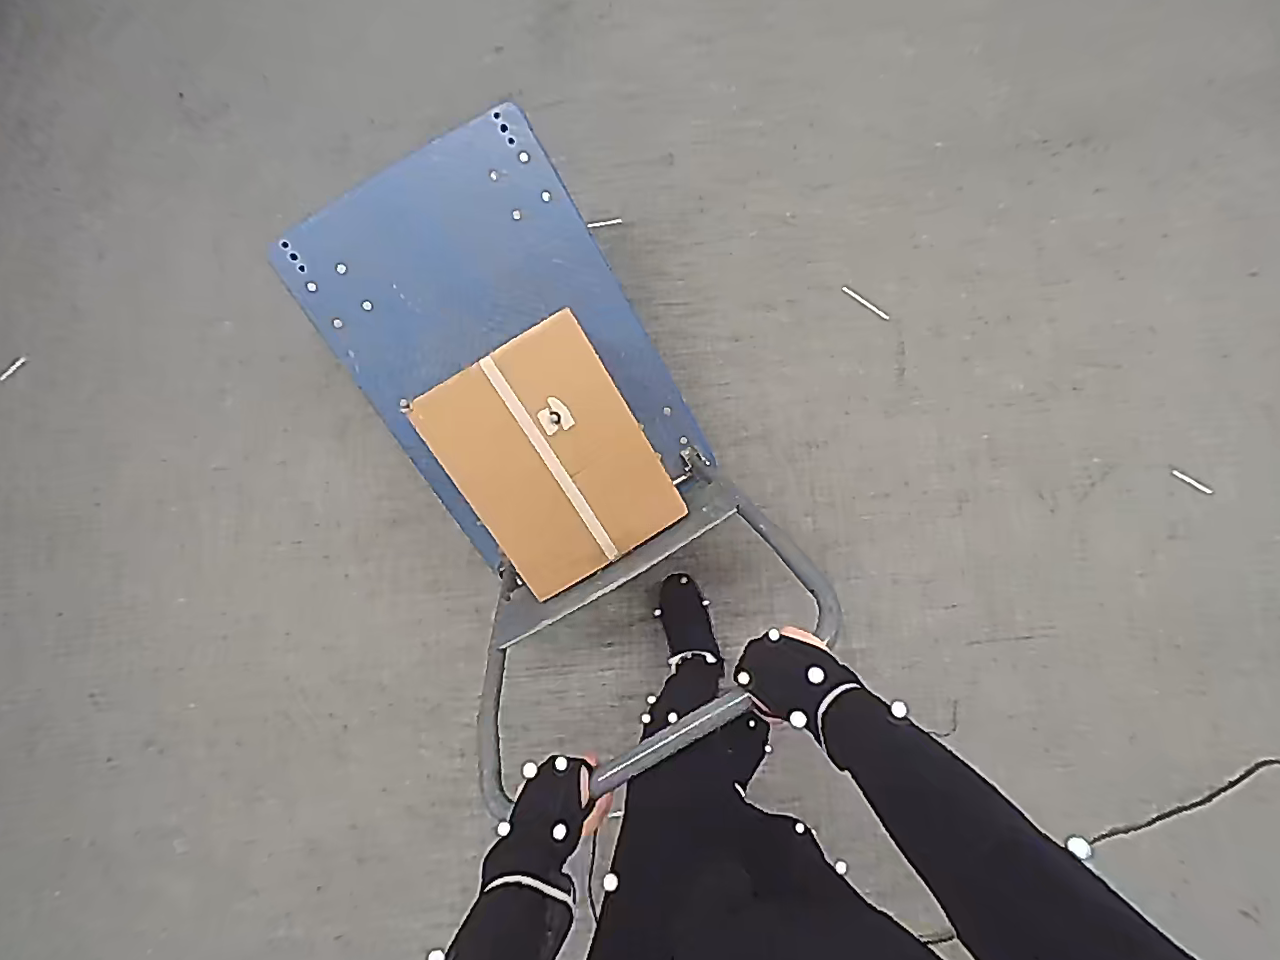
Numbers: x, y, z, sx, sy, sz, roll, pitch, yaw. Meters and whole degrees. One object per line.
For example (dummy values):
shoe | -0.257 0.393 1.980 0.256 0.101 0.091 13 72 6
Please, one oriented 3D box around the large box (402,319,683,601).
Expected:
large box | -0.168 -0.053 1.057 0.320 0.320 0.408 -32 105 1
